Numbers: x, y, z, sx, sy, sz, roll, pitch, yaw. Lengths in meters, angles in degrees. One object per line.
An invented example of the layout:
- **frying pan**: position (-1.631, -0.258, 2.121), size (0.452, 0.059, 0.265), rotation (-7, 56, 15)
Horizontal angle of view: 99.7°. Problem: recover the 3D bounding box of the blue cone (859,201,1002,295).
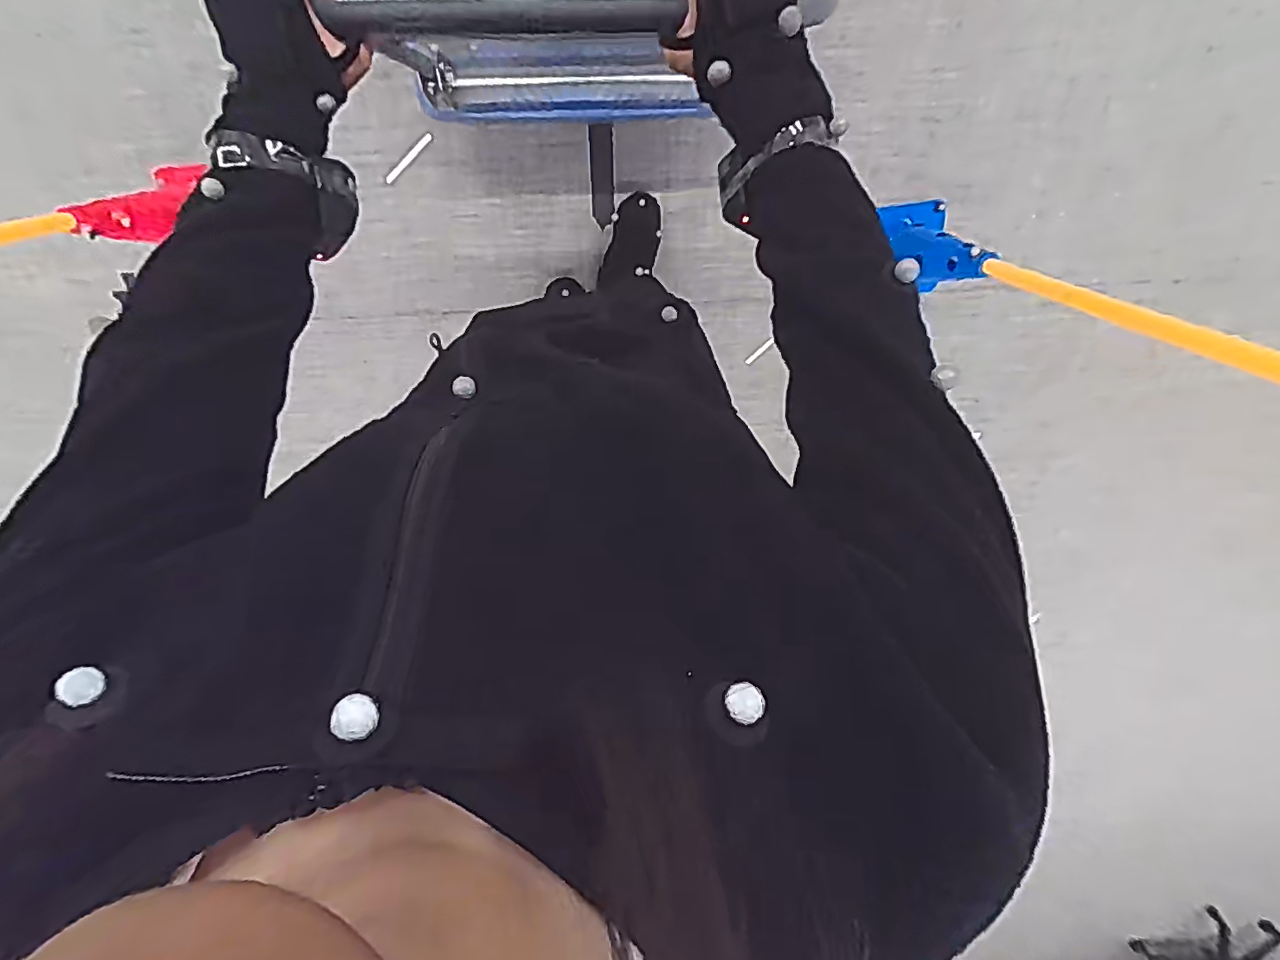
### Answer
- **blue cone**: position (0.609, -0.464, 1.109), size (0.193, 0.380, 0.192), rotation (-5, 116, 1)
